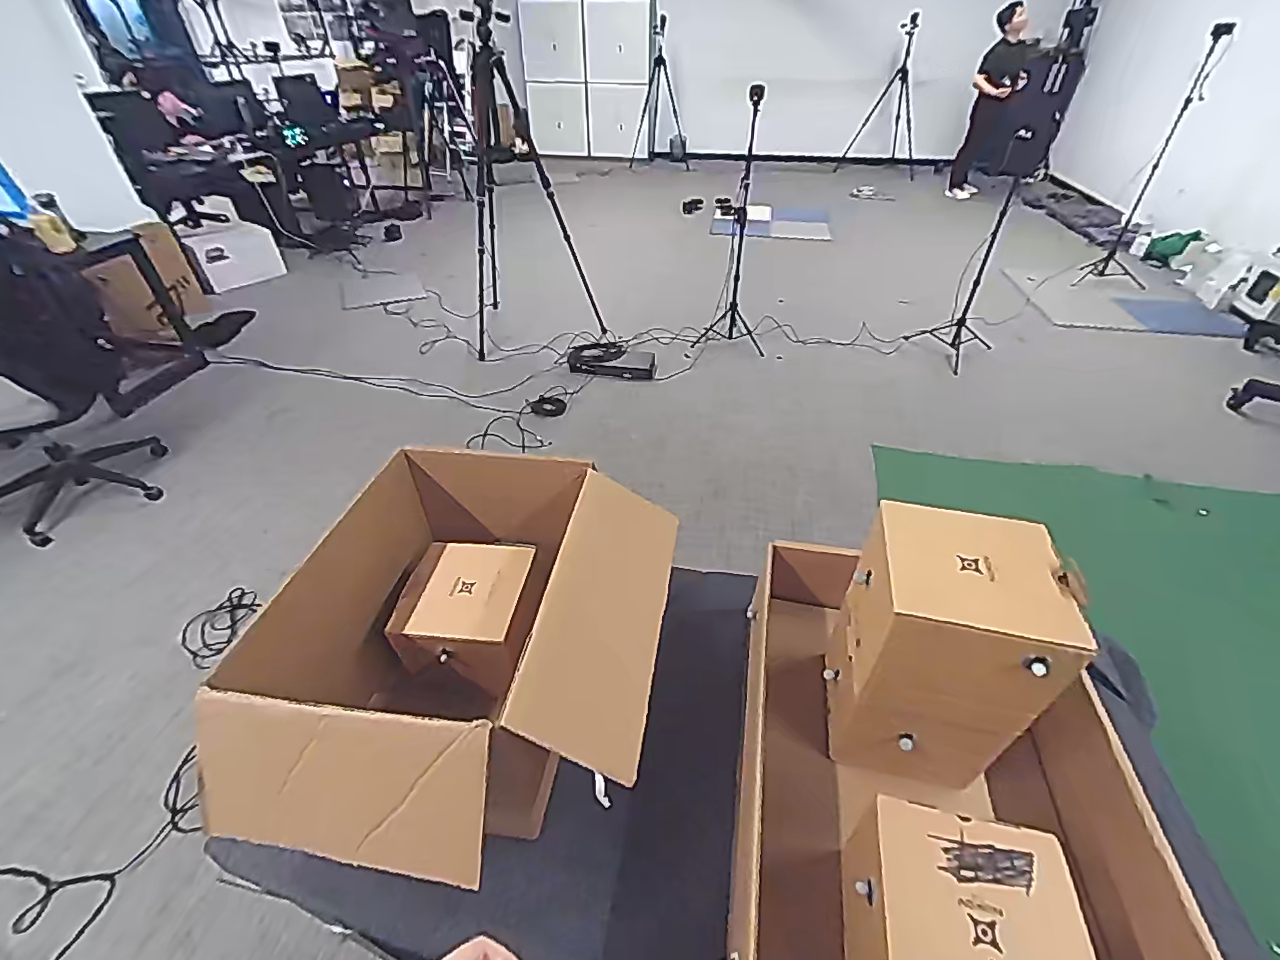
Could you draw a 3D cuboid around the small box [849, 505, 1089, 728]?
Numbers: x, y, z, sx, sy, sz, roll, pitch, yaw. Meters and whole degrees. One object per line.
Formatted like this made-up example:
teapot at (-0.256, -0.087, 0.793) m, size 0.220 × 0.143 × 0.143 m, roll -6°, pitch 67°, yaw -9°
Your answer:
small box at (0.344, 0.154, 0.614) m, size 0.179 × 0.176 × 0.168 m, roll 9°, pitch 42°, yaw 11°
